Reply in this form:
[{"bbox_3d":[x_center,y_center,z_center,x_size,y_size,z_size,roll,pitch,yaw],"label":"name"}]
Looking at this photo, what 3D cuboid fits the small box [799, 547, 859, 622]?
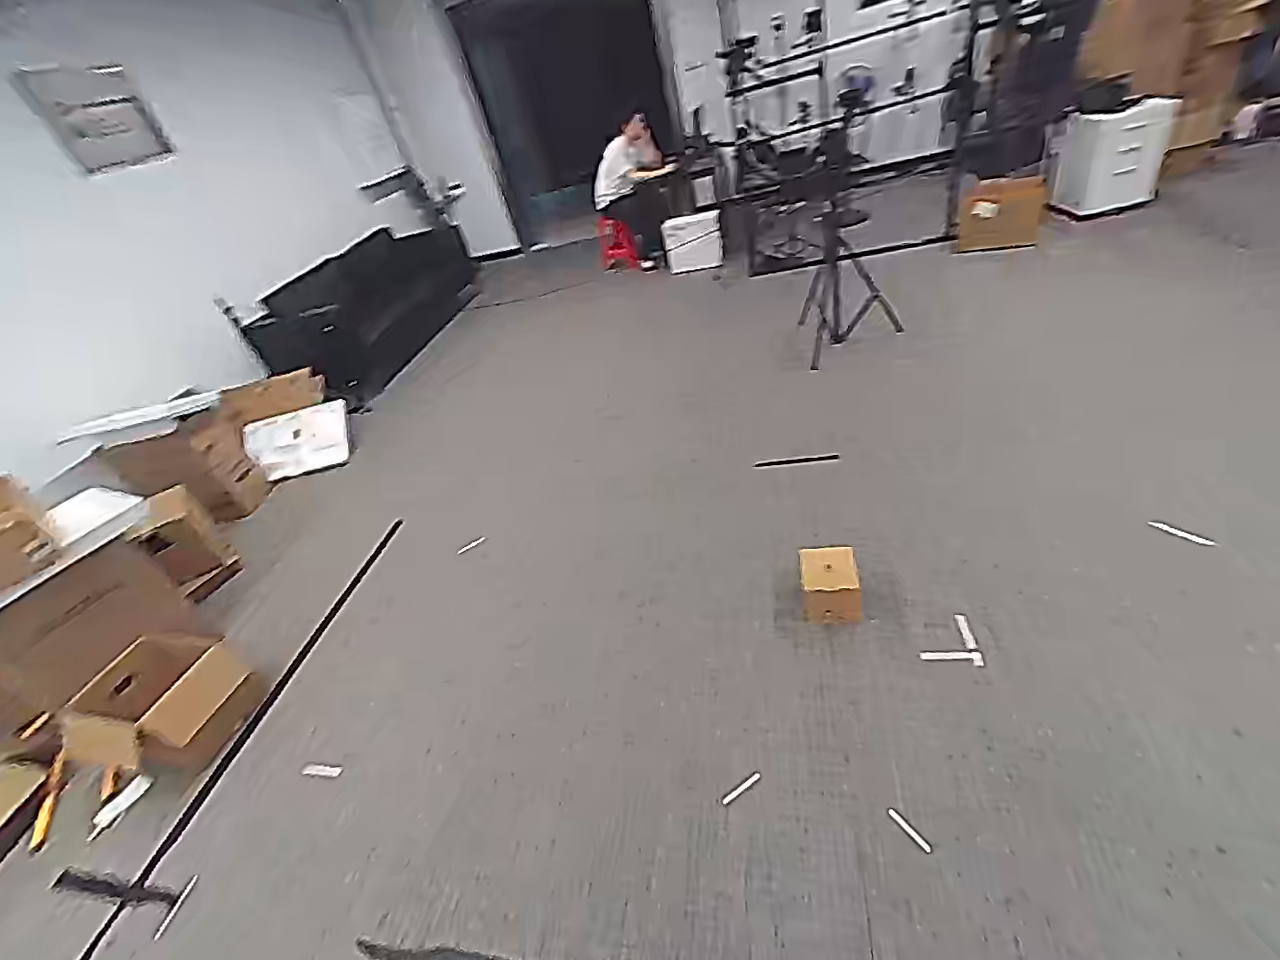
[{"bbox_3d":[0.613,0.343,1.766,0.168,0.176,0.179,-6,38,14],"label":"small box"}]
